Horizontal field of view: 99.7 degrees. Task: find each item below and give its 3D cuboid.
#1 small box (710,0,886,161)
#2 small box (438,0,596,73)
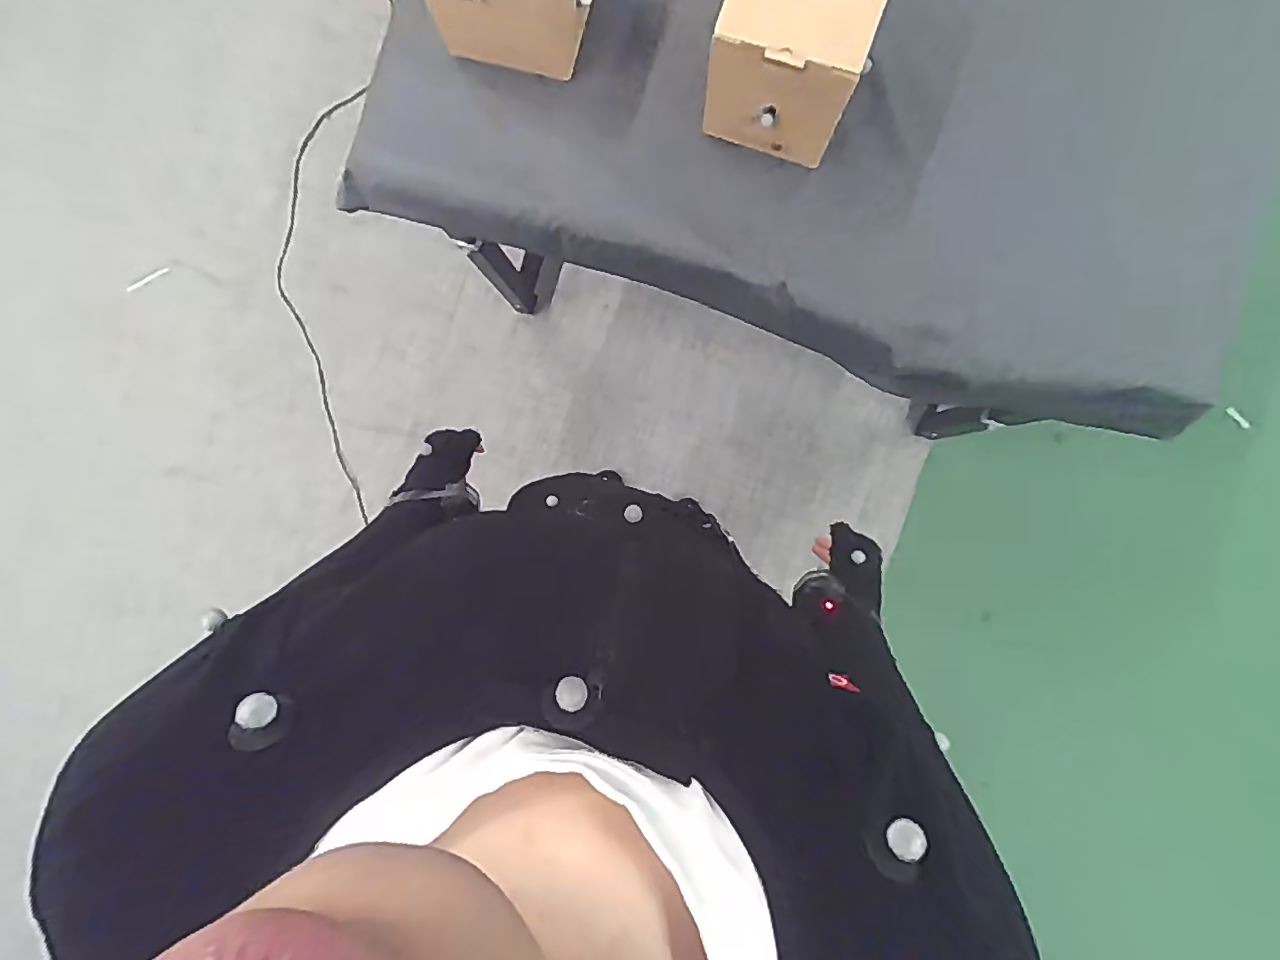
[{"bbox_3d":[0.189,-0.532,0.657,0.168,0.176,0.179,20,91,3],"label":"small box"},{"bbox_3d":[-0.158,-0.659,0.676,0.179,0.176,0.168,15,91,2],"label":"small box"}]
